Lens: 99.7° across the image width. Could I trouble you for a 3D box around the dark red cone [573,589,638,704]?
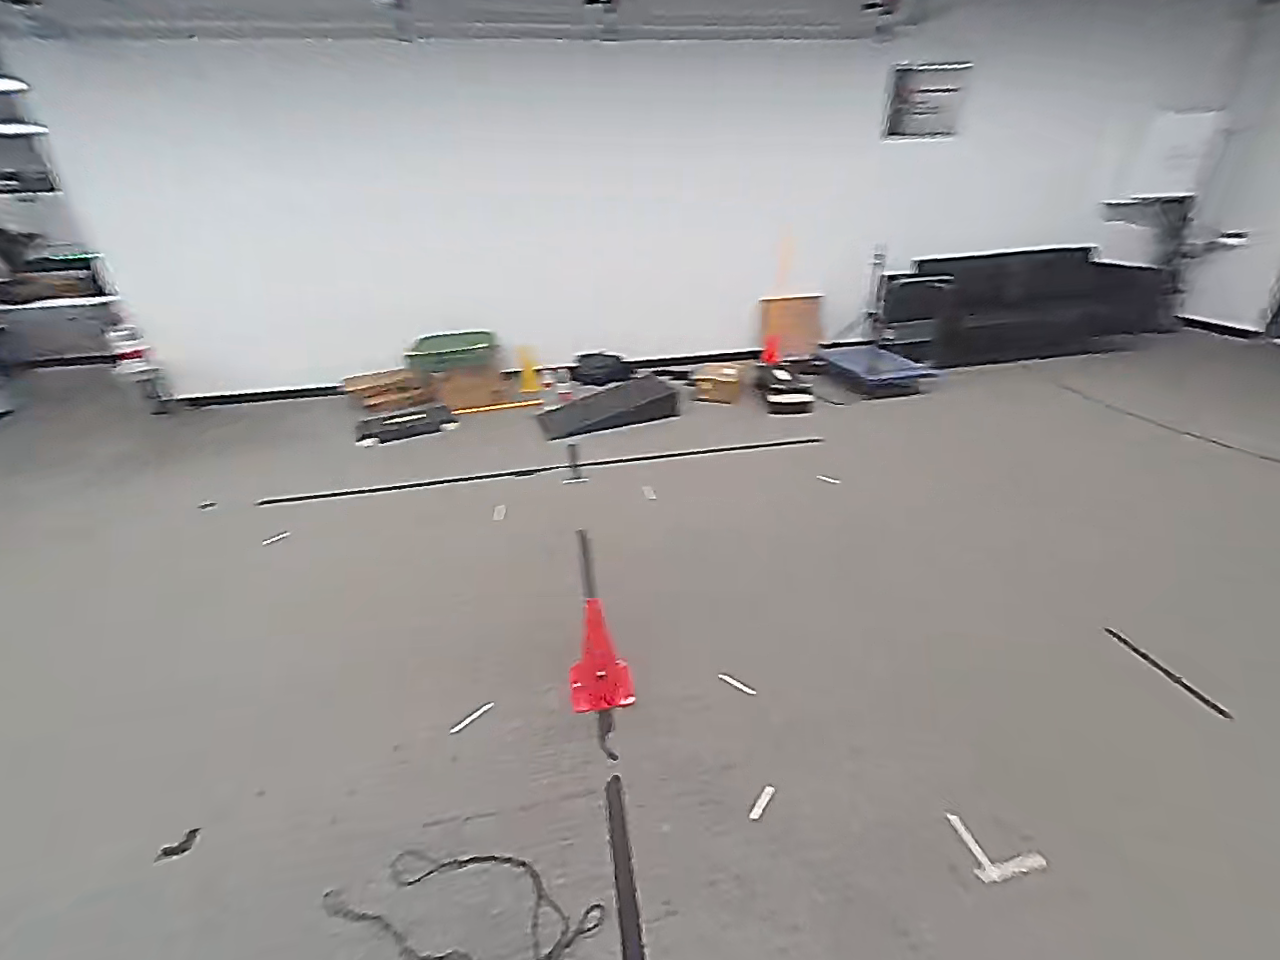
[{"bbox_3d":[-0.127,0.506,1.715,0.201,0.394,0.202,-8,29,-7],"label":"dark red cone"}]
